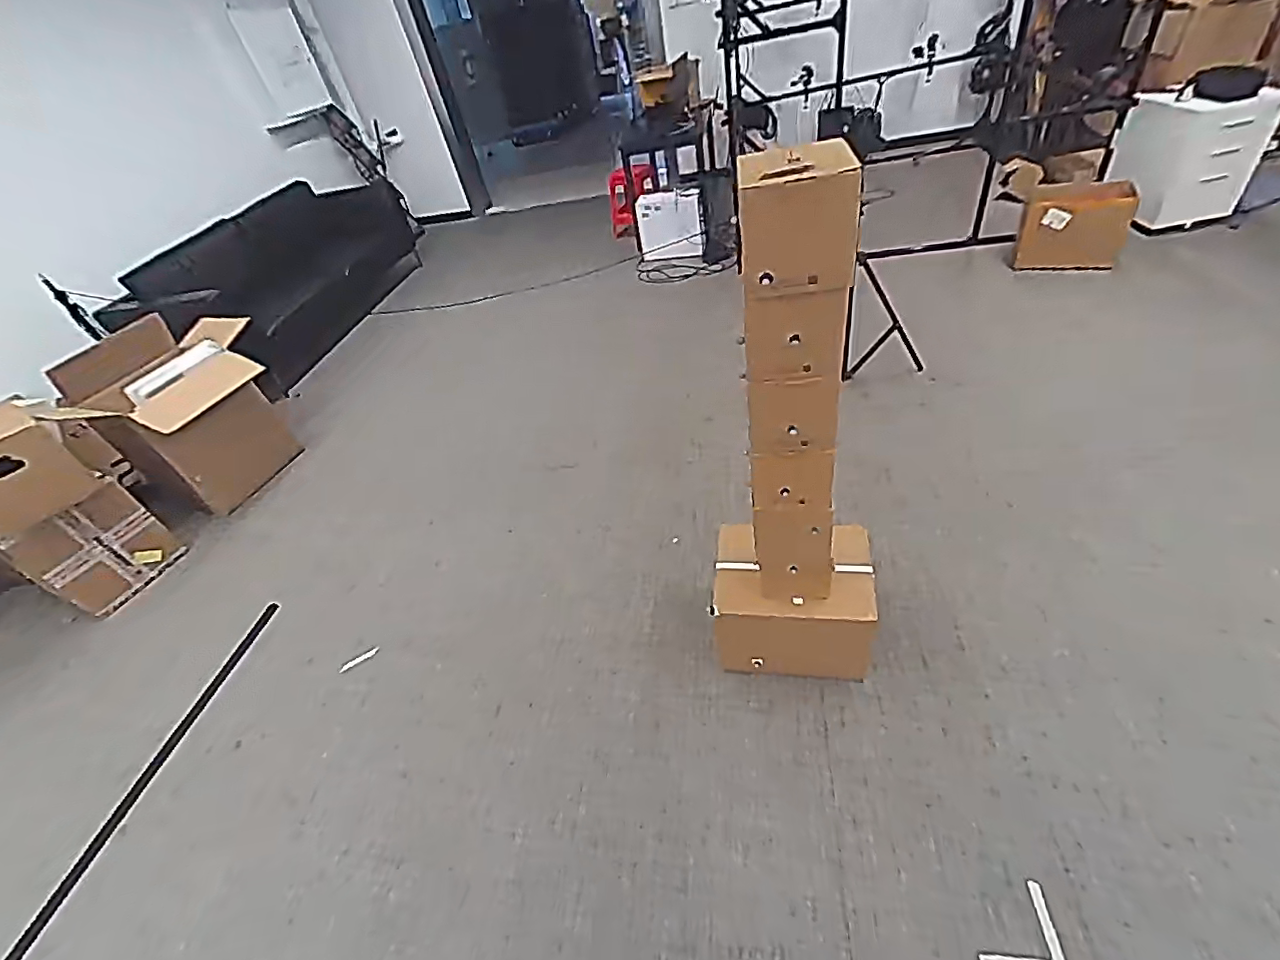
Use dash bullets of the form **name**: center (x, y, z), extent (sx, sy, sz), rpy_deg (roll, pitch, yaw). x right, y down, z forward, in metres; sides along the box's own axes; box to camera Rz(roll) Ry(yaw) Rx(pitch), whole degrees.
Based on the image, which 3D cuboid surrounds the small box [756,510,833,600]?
- **small box**: center (0.395, 0.195, 1.395), extent (0.179, 0.176, 0.168), rpy_deg (-2, 44, 12)

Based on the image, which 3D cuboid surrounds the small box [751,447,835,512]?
- **small box**: center (0.329, -0.049, 1.188), extent (0.168, 0.176, 0.179), rpy_deg (-2, 44, 13)

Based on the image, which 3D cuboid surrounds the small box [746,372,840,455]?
- **small box**: center (0.299, -0.170, 1.082), extent (0.168, 0.176, 0.179), rpy_deg (-3, 44, 13)

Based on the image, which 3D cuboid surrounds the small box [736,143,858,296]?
- **small box**: center (0.242, -0.404, 0.857), extent (0.168, 0.176, 0.179), rpy_deg (-3, 43, 12)

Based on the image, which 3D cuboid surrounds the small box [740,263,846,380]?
- **small box**: center (0.270, -0.292, 0.976), extent (0.168, 0.176, 0.179), rpy_deg (-3, 44, 12)
